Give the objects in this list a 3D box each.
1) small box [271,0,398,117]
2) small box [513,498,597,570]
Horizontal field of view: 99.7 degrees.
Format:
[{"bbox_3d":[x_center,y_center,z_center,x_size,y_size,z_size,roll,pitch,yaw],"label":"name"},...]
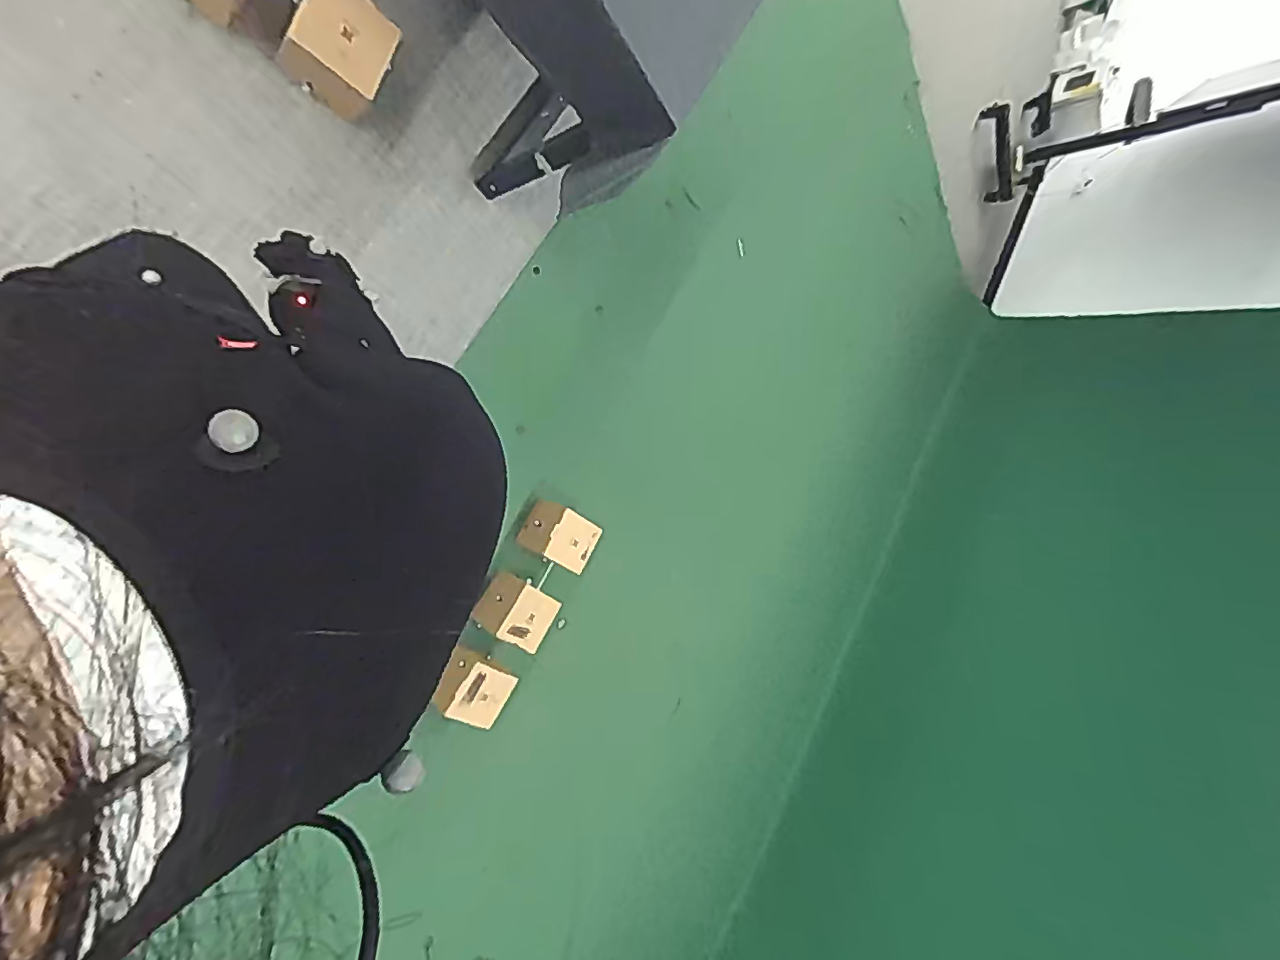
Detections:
[{"bbox_3d":[-0.650,-0.924,1.145,0.168,0.176,0.179,25,82,-44],"label":"small box"},{"bbox_3d":[-0.282,0.171,1.768,0.179,0.176,0.168,39,73,-40],"label":"small box"}]
